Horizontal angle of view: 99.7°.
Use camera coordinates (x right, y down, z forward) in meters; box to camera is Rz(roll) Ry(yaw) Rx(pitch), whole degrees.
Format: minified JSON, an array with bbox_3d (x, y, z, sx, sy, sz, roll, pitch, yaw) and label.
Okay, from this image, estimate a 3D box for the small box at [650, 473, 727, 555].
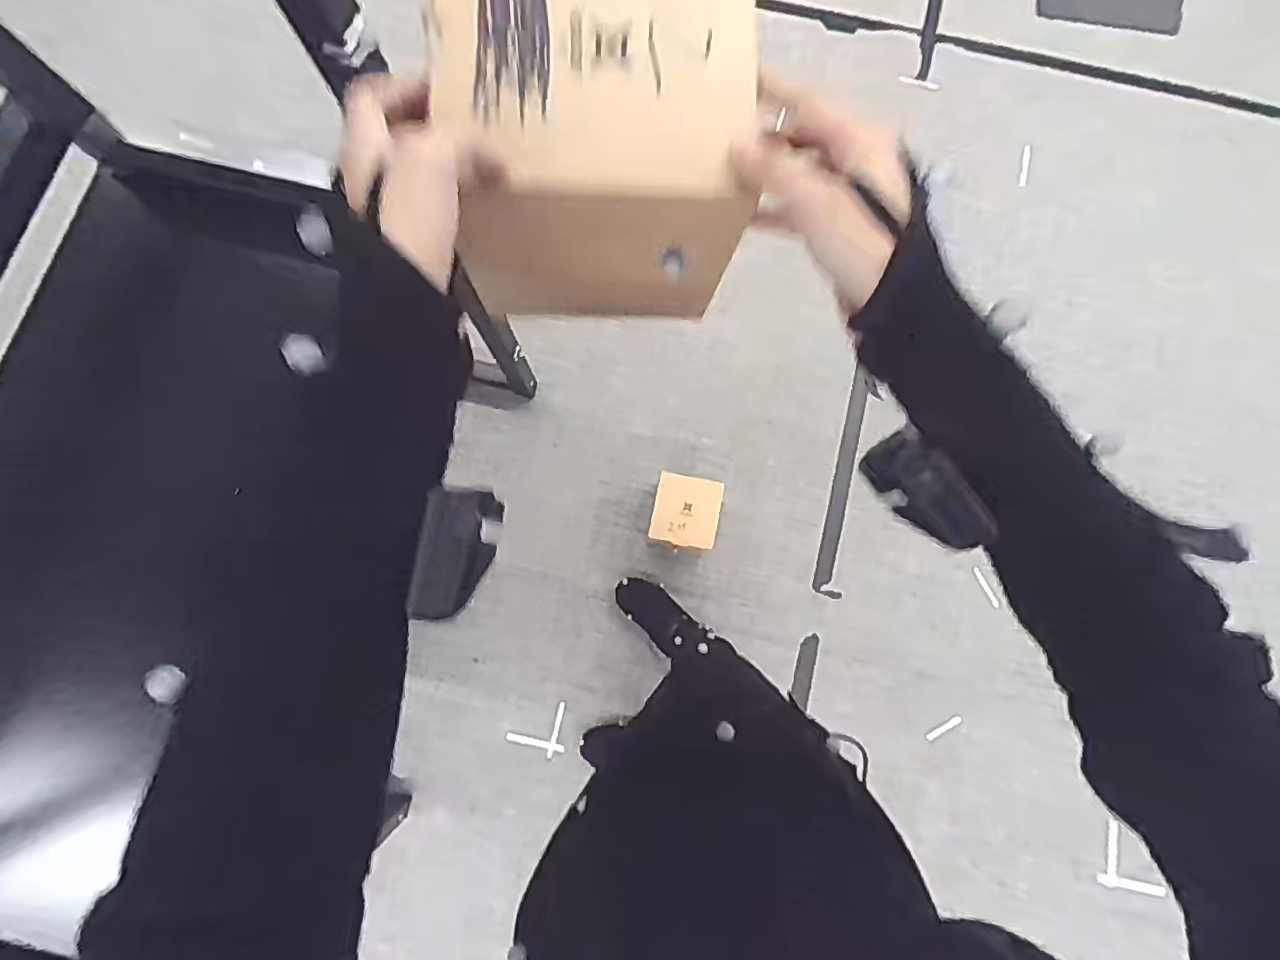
[{"bbox_3d":[0.121,0.096,1.426,0.168,0.176,0.179,11,80,1],"label":"small box"}]
